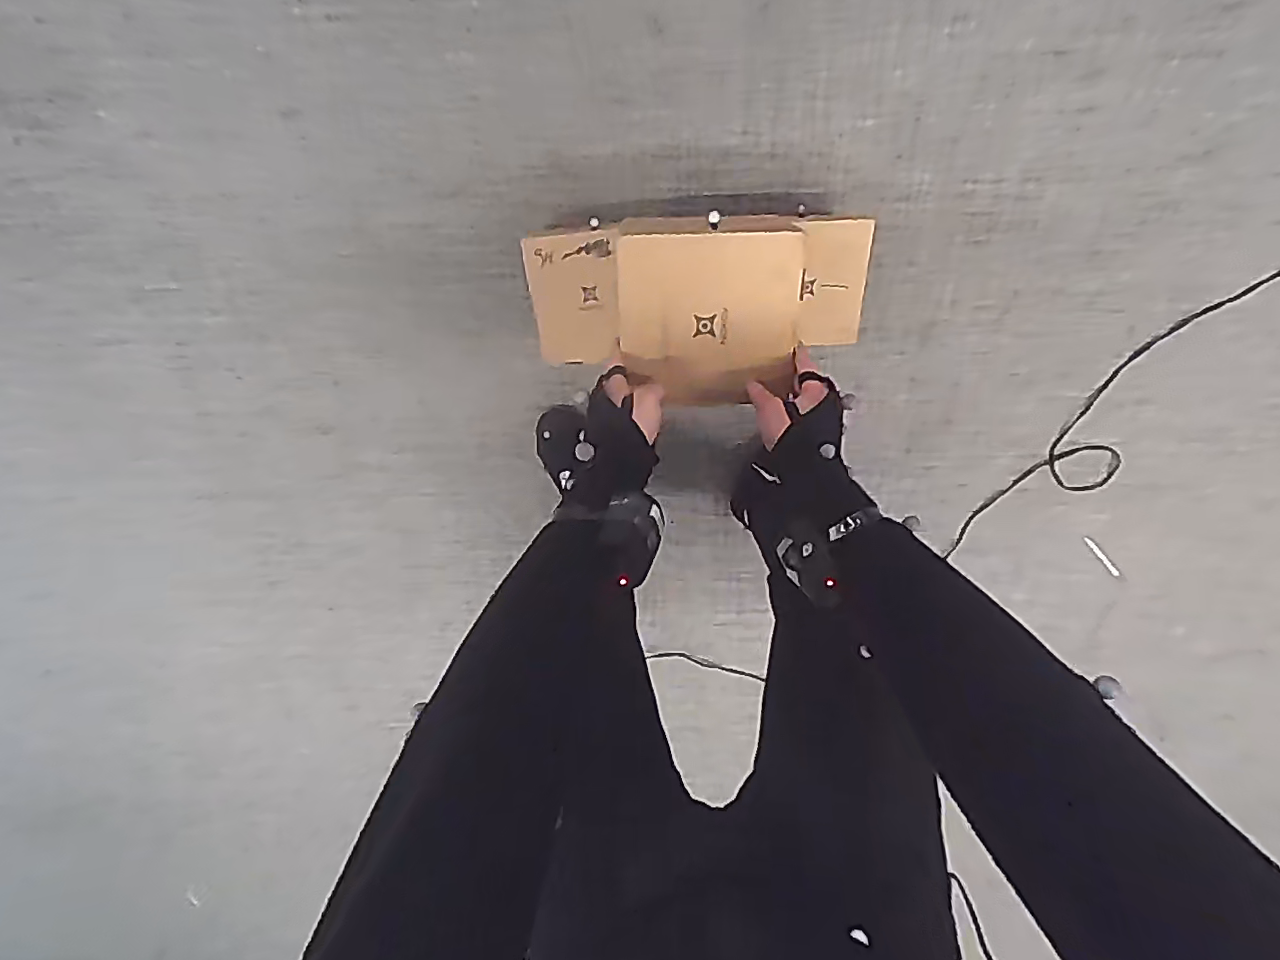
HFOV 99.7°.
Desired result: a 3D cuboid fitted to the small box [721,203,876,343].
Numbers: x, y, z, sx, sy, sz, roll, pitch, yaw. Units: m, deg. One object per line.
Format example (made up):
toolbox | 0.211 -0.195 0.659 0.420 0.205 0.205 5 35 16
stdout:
small box | 0.219 -0.313 0.805 0.179 0.176 0.168 3 121 1
